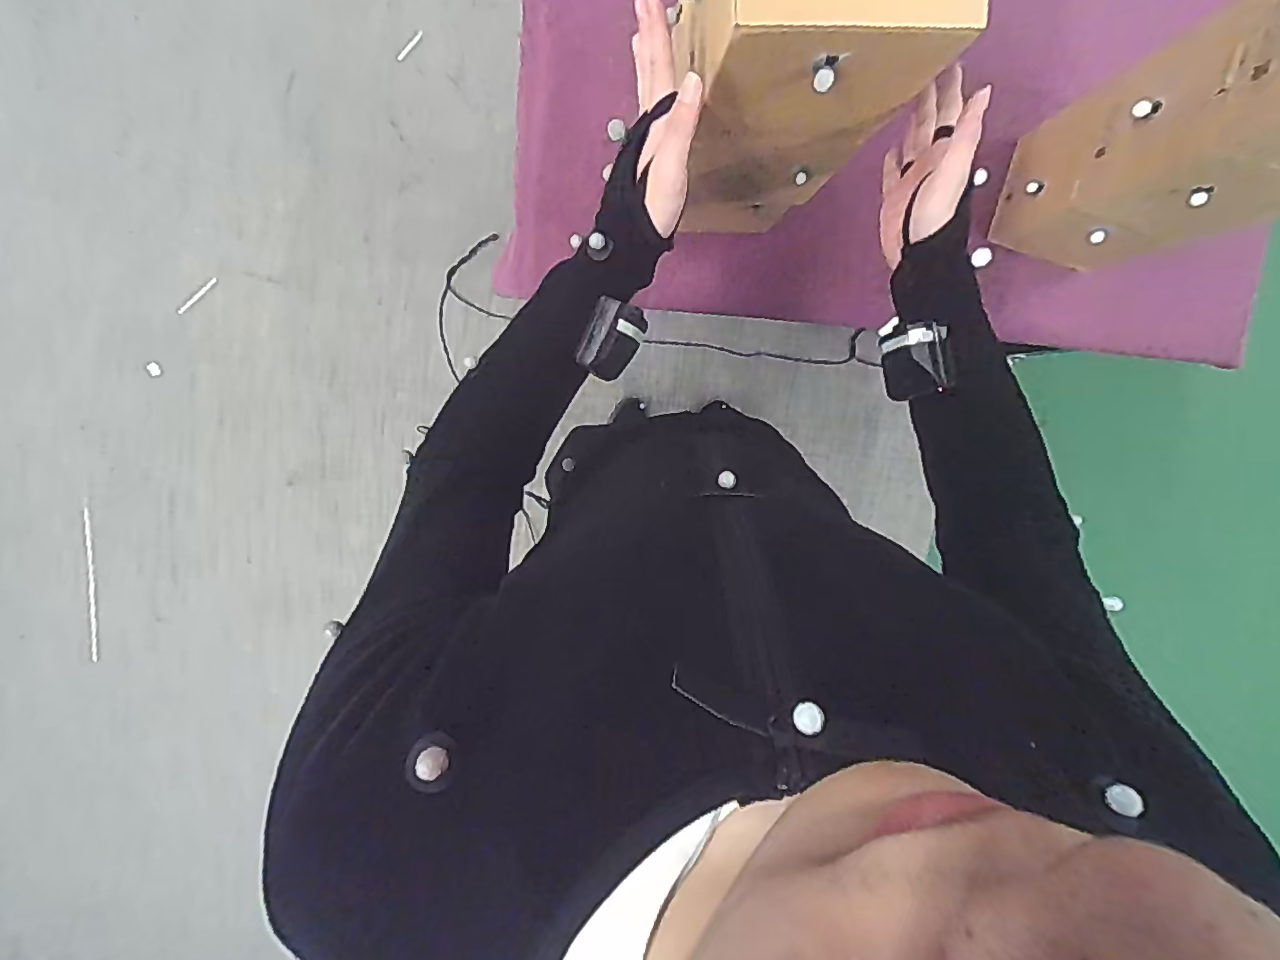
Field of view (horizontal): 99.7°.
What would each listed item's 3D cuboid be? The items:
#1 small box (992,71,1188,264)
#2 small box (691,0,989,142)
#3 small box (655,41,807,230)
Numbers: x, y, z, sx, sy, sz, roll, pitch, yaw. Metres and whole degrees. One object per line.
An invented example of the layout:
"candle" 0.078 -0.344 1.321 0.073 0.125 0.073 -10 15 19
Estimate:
"small box" 0.659 -0.431 0.780 0.179 0.176 0.168 15 97 -6
"small box" 0.140 -0.389 0.423 0.179 0.176 0.168 -3 100 -3
"small box" 0.116 -0.456 0.742 0.179 0.176 0.168 -1 99 -3
